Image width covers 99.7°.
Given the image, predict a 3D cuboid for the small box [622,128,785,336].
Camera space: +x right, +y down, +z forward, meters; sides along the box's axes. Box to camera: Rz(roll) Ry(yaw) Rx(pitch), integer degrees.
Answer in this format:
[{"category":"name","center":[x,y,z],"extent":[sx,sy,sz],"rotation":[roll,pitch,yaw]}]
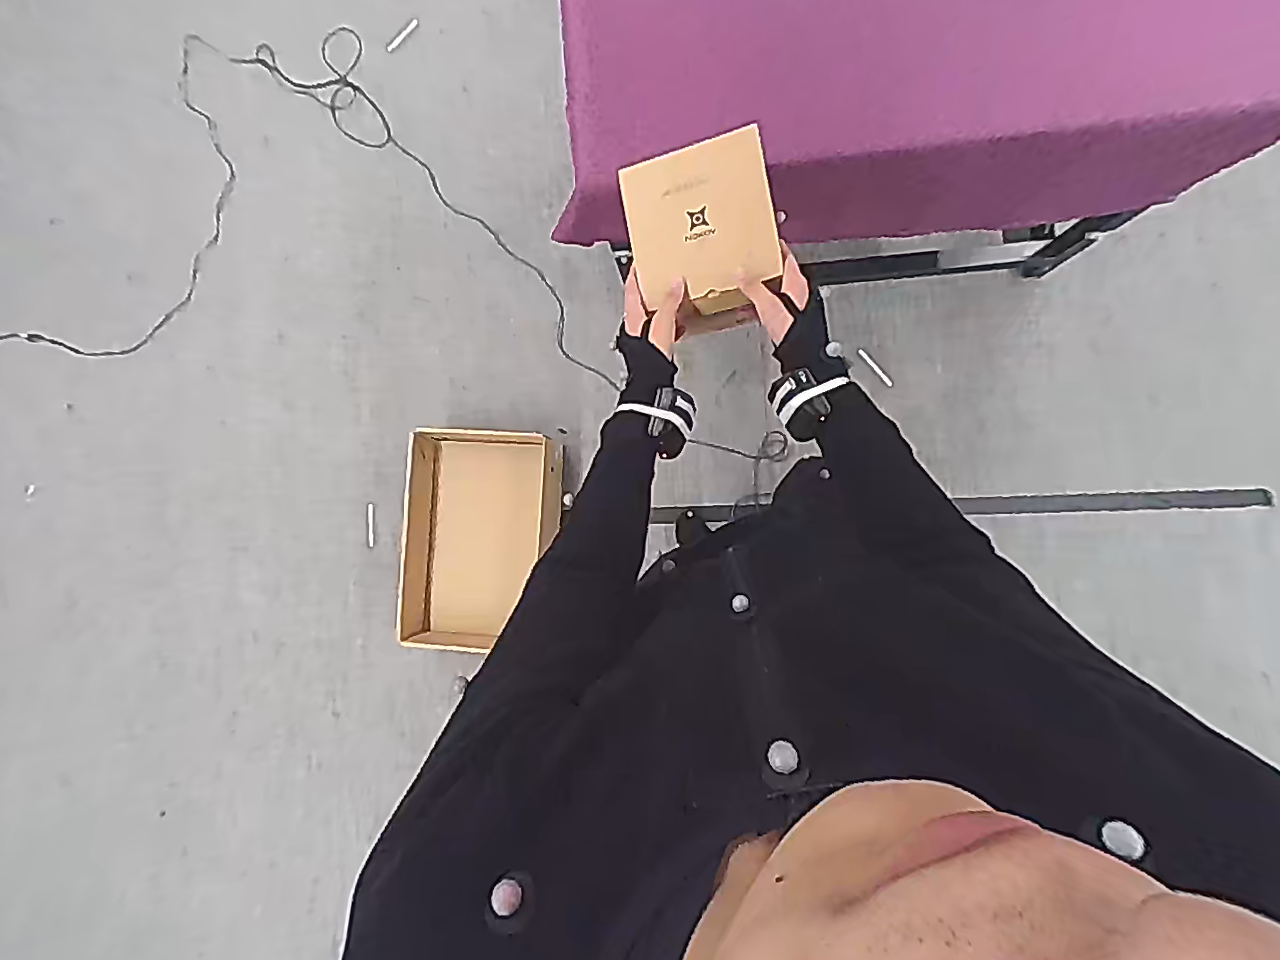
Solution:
[{"category":"small box","center":[0.090,-0.294,0.689],"extent":[0.168,0.176,0.179],"rotation":[-10,90,14]}]
